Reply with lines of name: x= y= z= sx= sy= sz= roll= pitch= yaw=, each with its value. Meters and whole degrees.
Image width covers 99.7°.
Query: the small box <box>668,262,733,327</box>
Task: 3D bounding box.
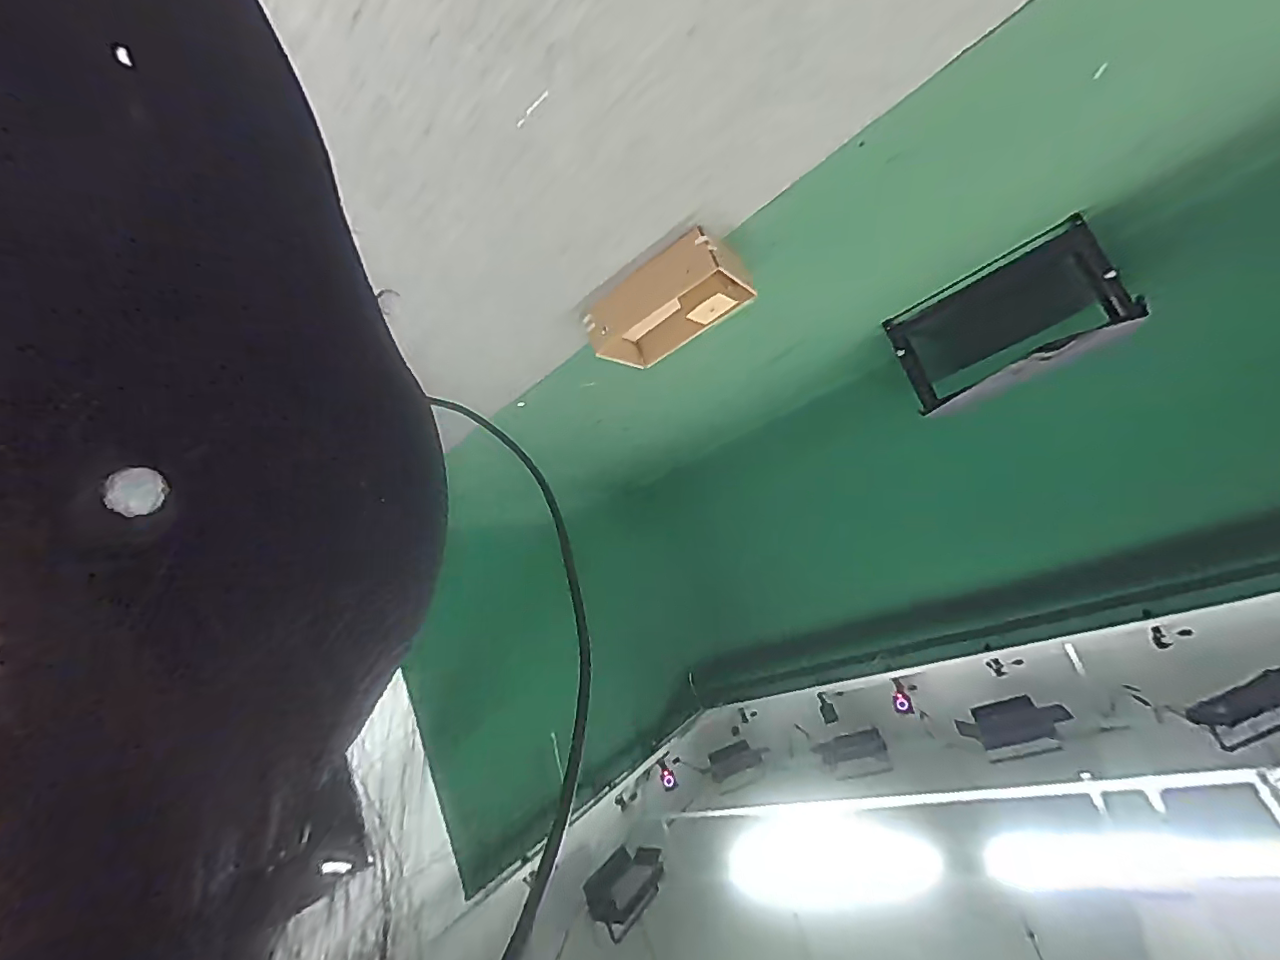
small box: x=0.240 y=-0.738 z=2.153 sx=0.168 sy=0.176 sz=0.179 roll=-29 pitch=166 yaw=33
